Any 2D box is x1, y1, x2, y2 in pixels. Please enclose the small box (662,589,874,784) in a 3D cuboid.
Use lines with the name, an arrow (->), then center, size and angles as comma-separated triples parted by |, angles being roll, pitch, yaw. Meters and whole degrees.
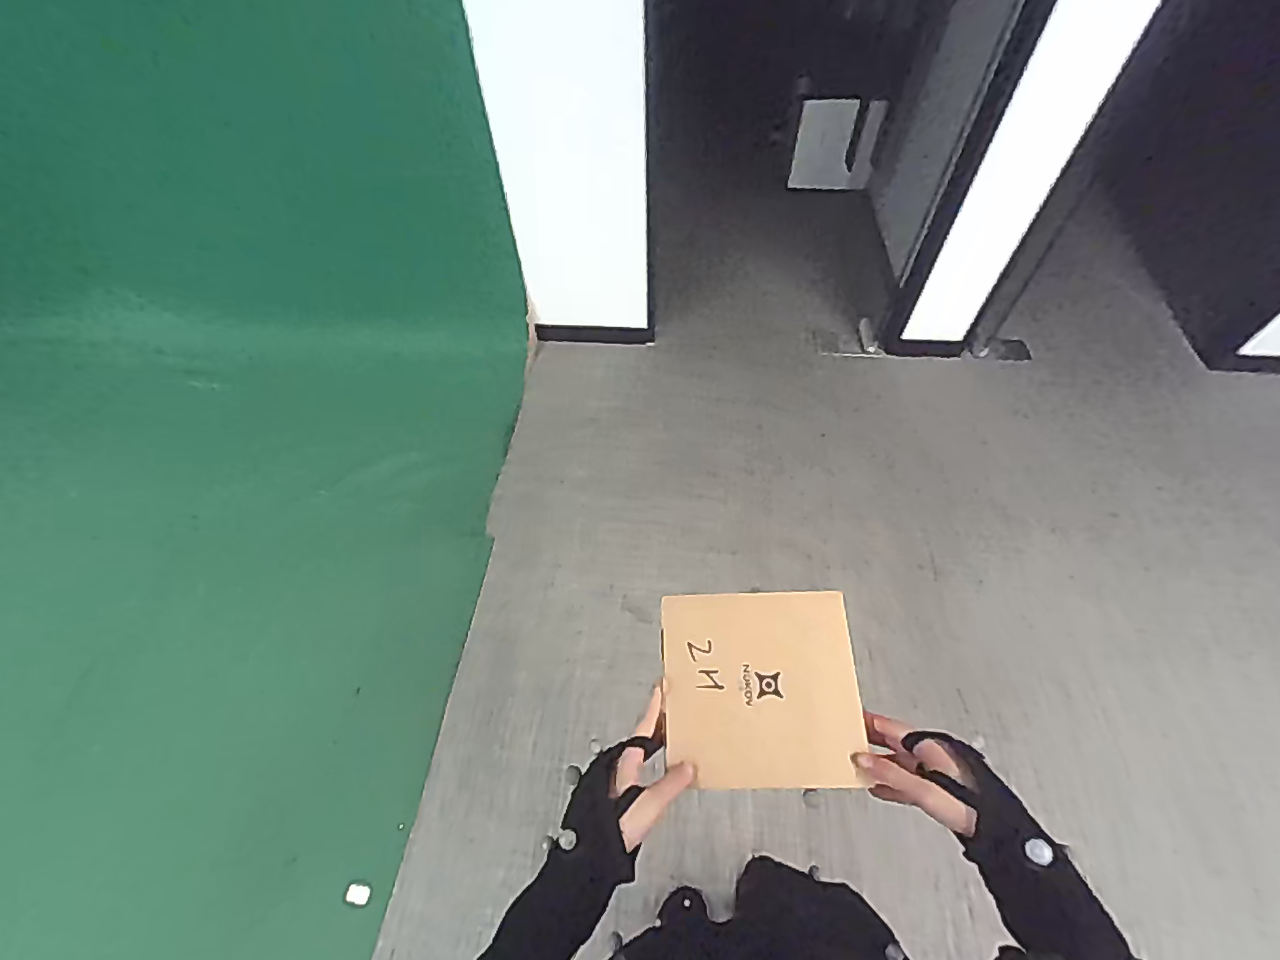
small box -> 0.113, 0.214, 0.558 | 0.179, 0.176, 0.168 | -3, 64, 4
